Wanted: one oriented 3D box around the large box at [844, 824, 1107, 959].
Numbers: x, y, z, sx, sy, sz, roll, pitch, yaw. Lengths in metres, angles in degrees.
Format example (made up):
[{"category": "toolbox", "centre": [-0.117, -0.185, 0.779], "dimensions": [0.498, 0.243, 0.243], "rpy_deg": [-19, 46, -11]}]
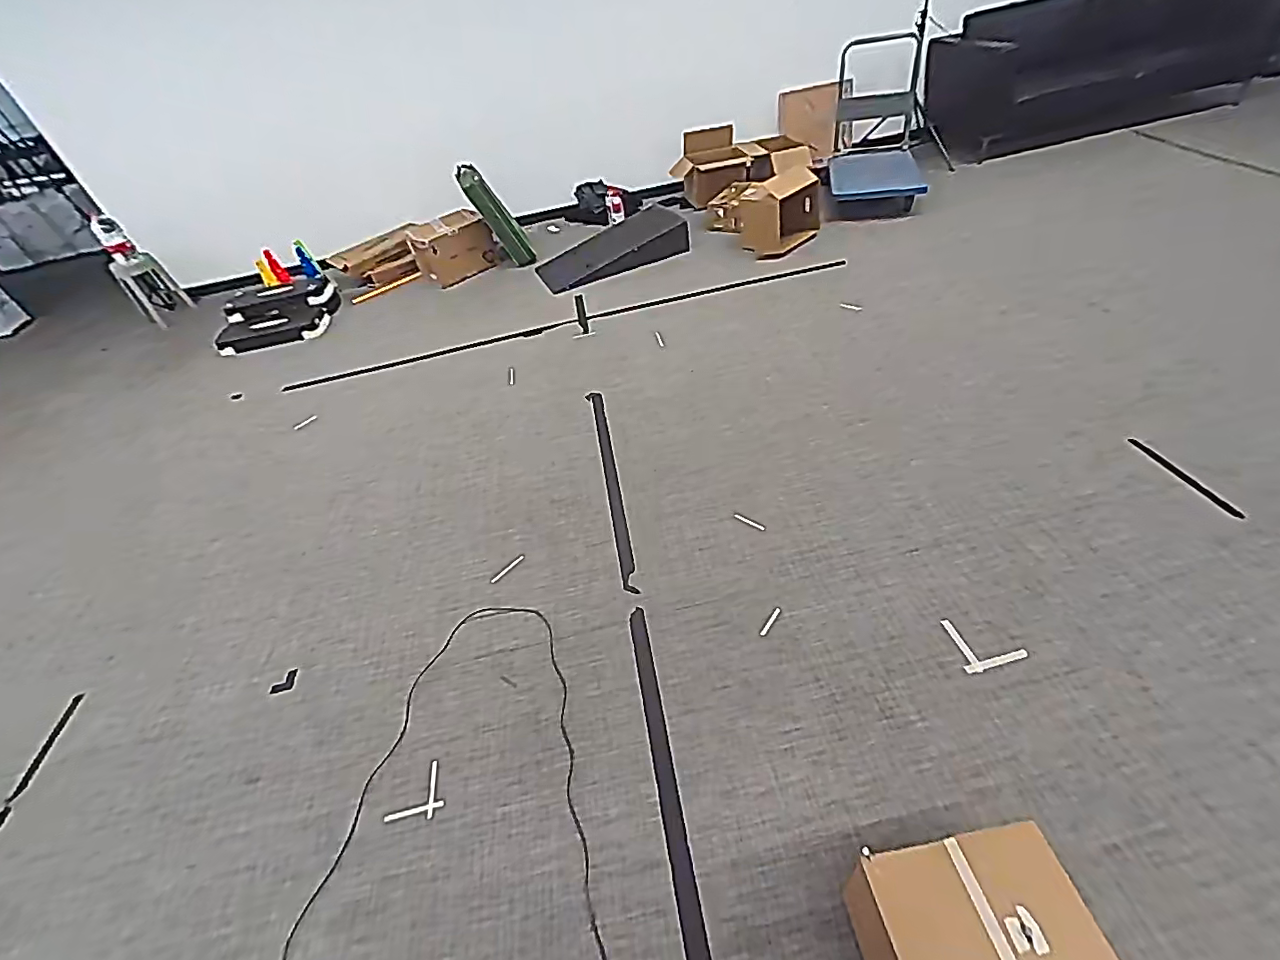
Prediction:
[{"category": "large box", "centre": [0.584, 0.877, 0.906], "dimensions": [0.320, 0.320, 0.408], "rpy_deg": [-11, 42, -1]}]
